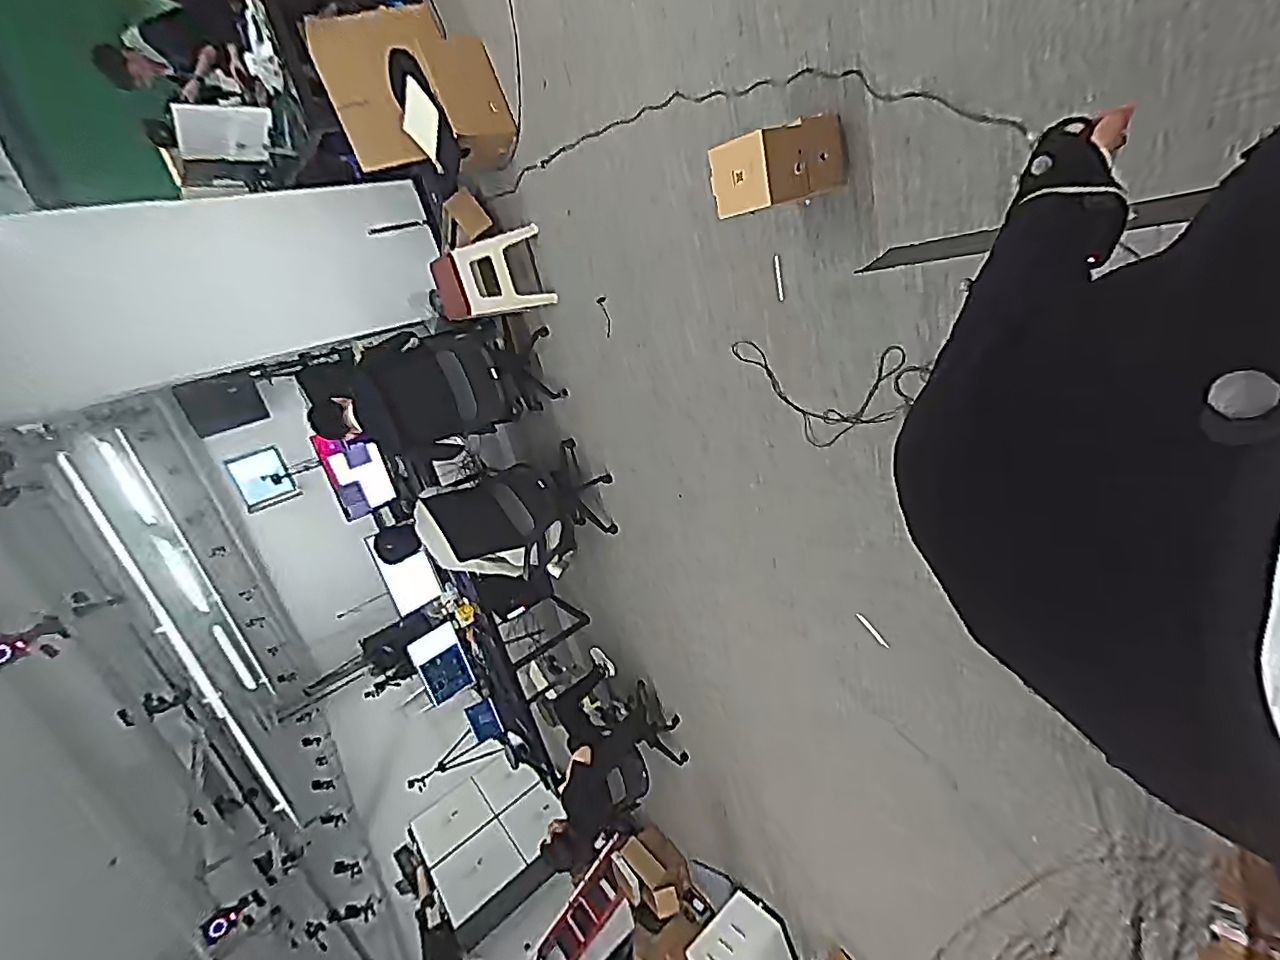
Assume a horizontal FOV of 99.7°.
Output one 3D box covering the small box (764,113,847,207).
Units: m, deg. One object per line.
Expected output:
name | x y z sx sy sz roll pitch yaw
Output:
small box | 0.432 -0.859 1.452 0.168 0.176 0.179 11 124 52

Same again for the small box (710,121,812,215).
small box | 0.308 -0.788 1.373 0.179 0.176 0.168 14 126 50
